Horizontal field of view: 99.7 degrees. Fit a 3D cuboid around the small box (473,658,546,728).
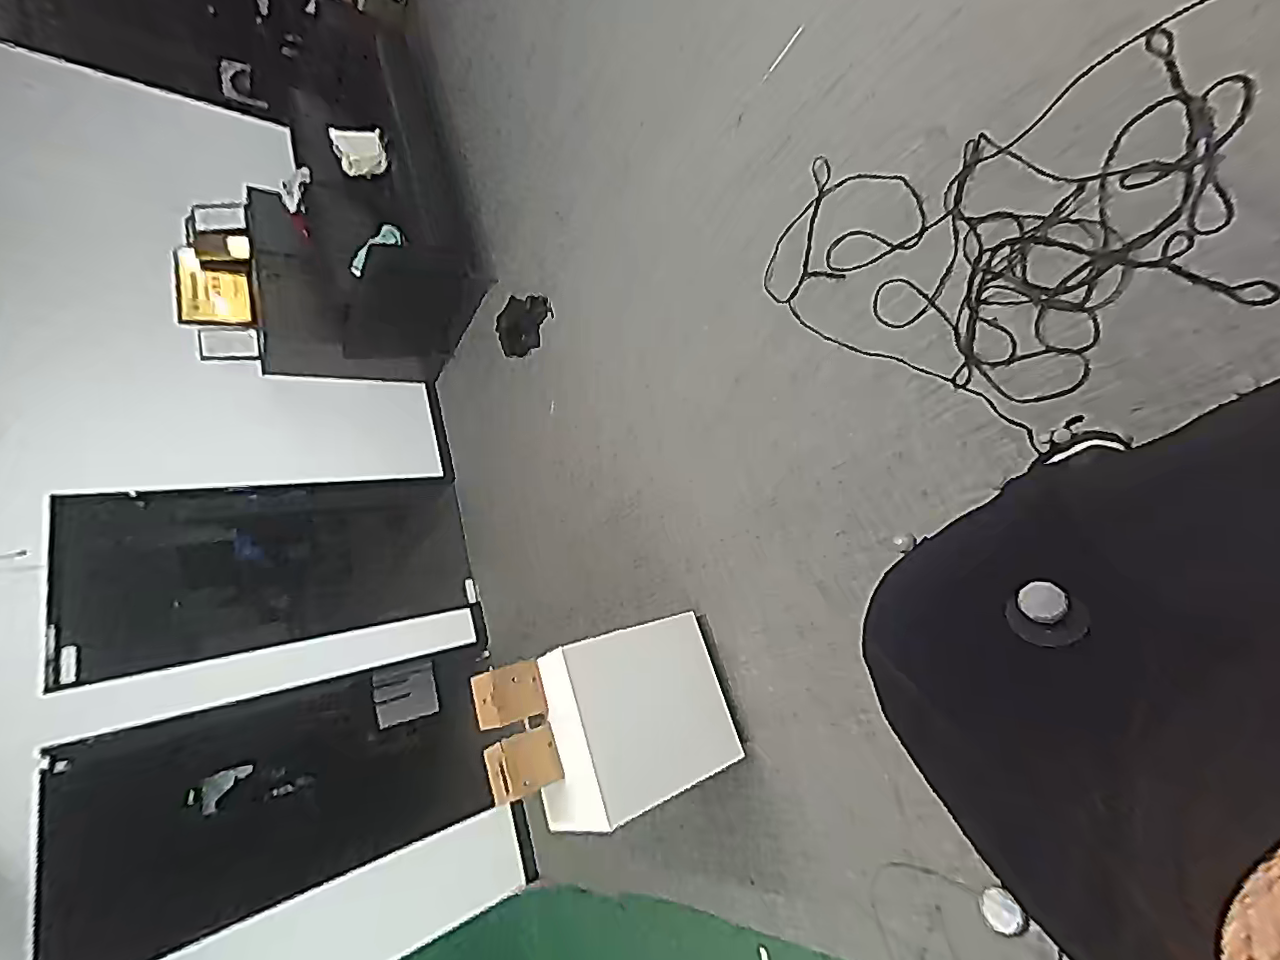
[{"bbox_3d":[-0.416,0.685,1.740,0.179,0.176,0.168,-36,65,48],"label":"small box"}]
